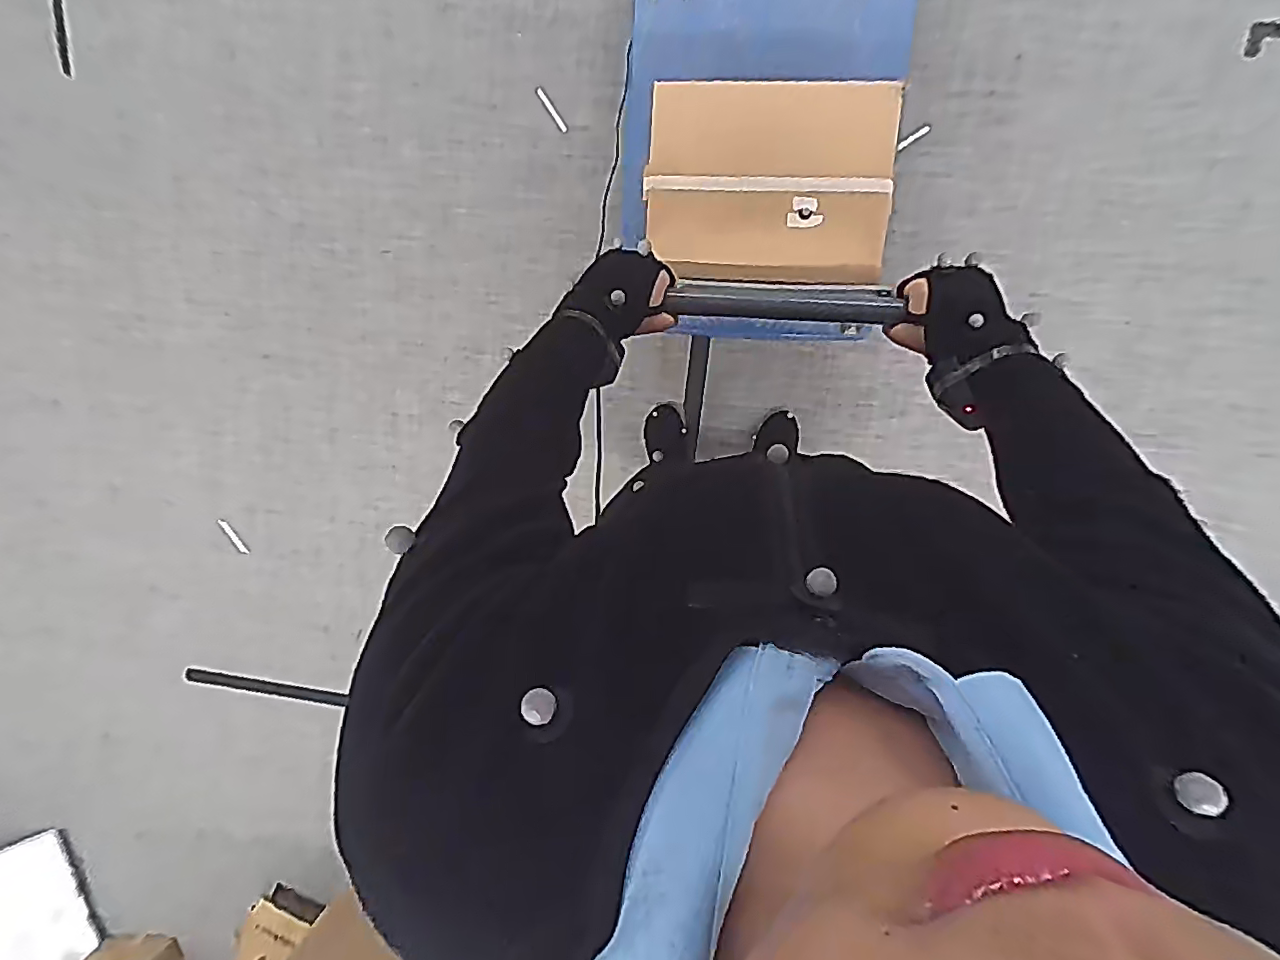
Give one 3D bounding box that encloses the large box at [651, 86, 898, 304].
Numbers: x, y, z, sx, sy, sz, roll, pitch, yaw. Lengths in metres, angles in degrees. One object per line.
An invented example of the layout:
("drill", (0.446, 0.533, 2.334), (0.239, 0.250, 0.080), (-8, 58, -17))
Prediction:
("large box", (0.235, -0.532, 1.074), (0.408, 0.320, 0.320), (4, 102, 5))
